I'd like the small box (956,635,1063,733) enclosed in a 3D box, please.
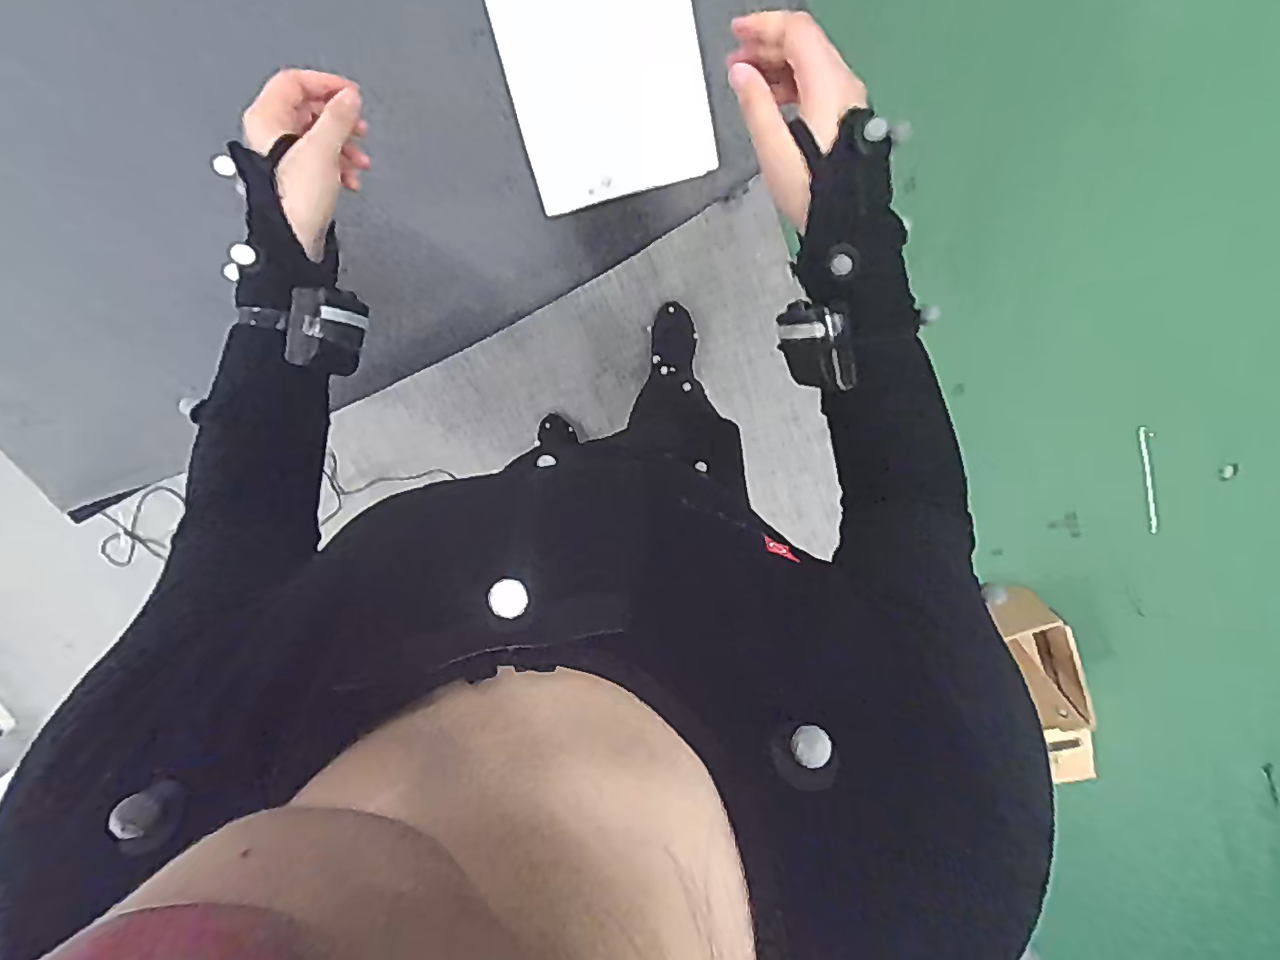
[{"bbox_3d":[1.023,0.562,1.507,0.179,0.176,0.168,-22,110,15],"label":"small box"}]

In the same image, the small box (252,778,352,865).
[{"bbox_3d":[-1.027,1.057,1.648,0.168,0.176,0.179,-40,103,18],"label":"small box"}]
